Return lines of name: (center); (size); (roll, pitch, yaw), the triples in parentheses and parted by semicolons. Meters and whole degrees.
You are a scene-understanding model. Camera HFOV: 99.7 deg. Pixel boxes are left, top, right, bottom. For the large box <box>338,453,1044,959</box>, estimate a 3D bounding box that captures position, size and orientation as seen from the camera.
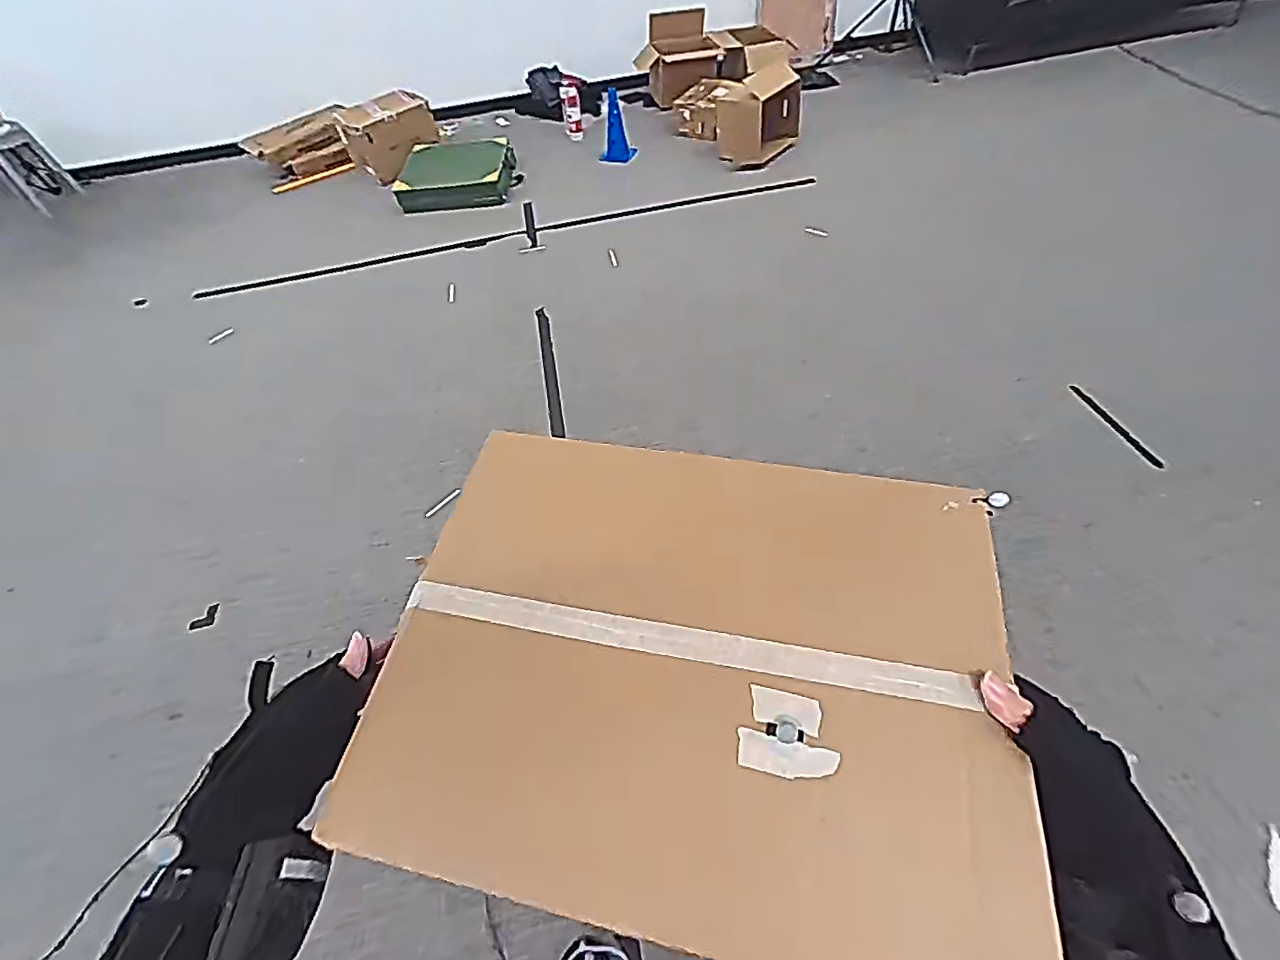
large box: (0.044, 0.203, 0.500); (0.408, 0.320, 0.320); (7, 58, 9)
